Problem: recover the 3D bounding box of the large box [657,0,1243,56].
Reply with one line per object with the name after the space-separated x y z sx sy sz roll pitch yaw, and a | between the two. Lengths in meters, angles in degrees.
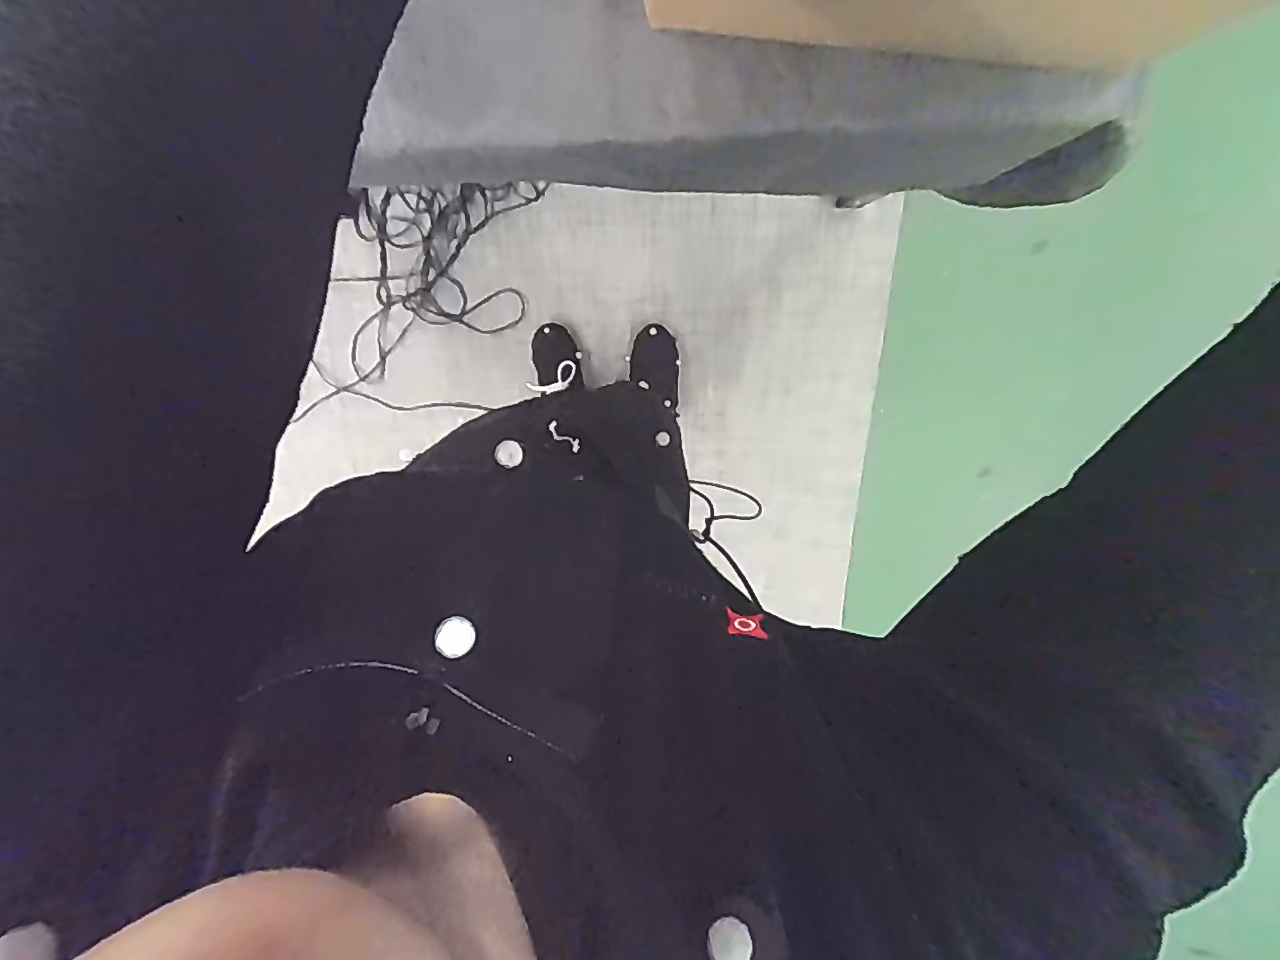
0.212 -0.456 0.261 0.408 0.320 0.320 8 113 2 | large box
